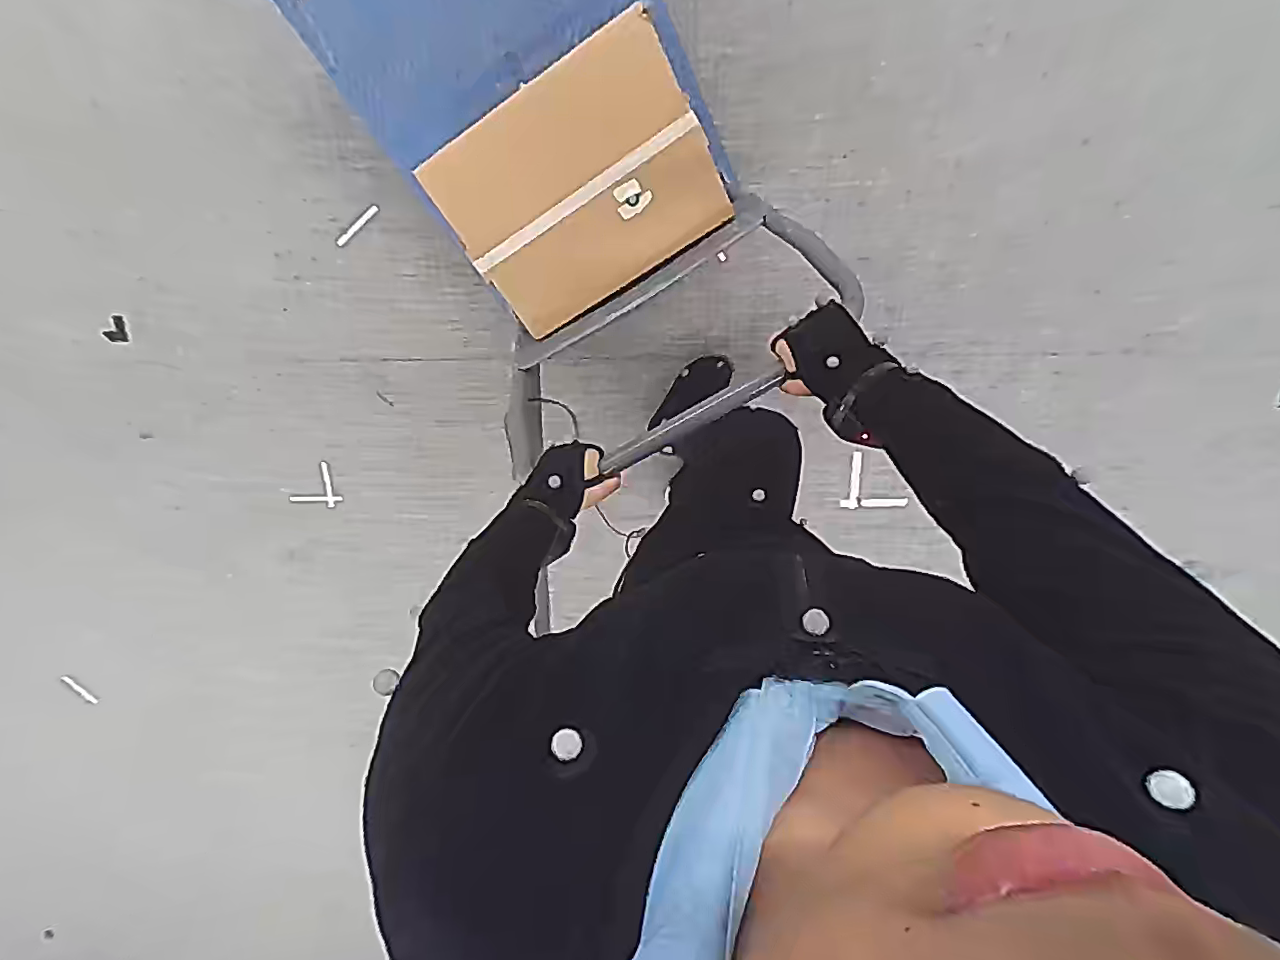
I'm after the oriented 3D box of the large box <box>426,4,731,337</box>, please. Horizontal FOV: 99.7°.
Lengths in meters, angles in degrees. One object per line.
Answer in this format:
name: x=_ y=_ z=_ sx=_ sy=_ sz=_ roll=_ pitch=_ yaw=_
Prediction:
large box: x=-0.109 y=-0.539 z=0.991 sx=0.408 sy=0.320 sz=0.320 roll=-30 pitch=123 yaw=11
